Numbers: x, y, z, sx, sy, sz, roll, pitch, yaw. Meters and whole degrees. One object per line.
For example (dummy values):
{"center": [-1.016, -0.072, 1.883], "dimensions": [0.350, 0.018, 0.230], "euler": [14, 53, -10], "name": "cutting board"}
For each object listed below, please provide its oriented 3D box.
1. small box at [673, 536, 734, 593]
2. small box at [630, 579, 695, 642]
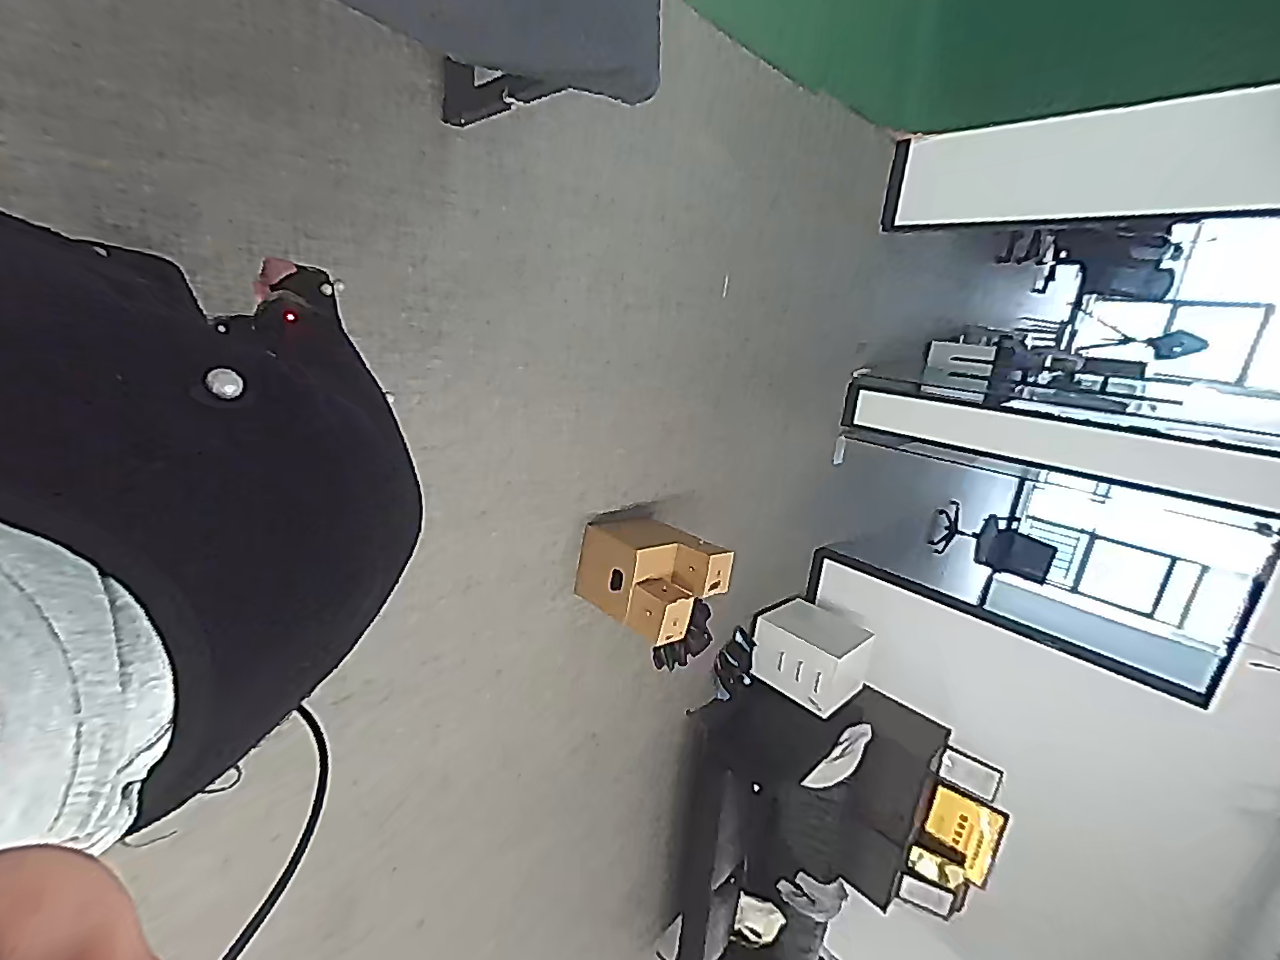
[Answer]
{"center": [0.254, 0.339, 2.201], "dimensions": [0.168, 0.176, 0.179], "euler": [-1, 103, -47], "name": "small box"}
{"center": [0.083, 0.490, 2.071], "dimensions": [0.168, 0.176, 0.179], "euler": [-2, 107, -48], "name": "small box"}
